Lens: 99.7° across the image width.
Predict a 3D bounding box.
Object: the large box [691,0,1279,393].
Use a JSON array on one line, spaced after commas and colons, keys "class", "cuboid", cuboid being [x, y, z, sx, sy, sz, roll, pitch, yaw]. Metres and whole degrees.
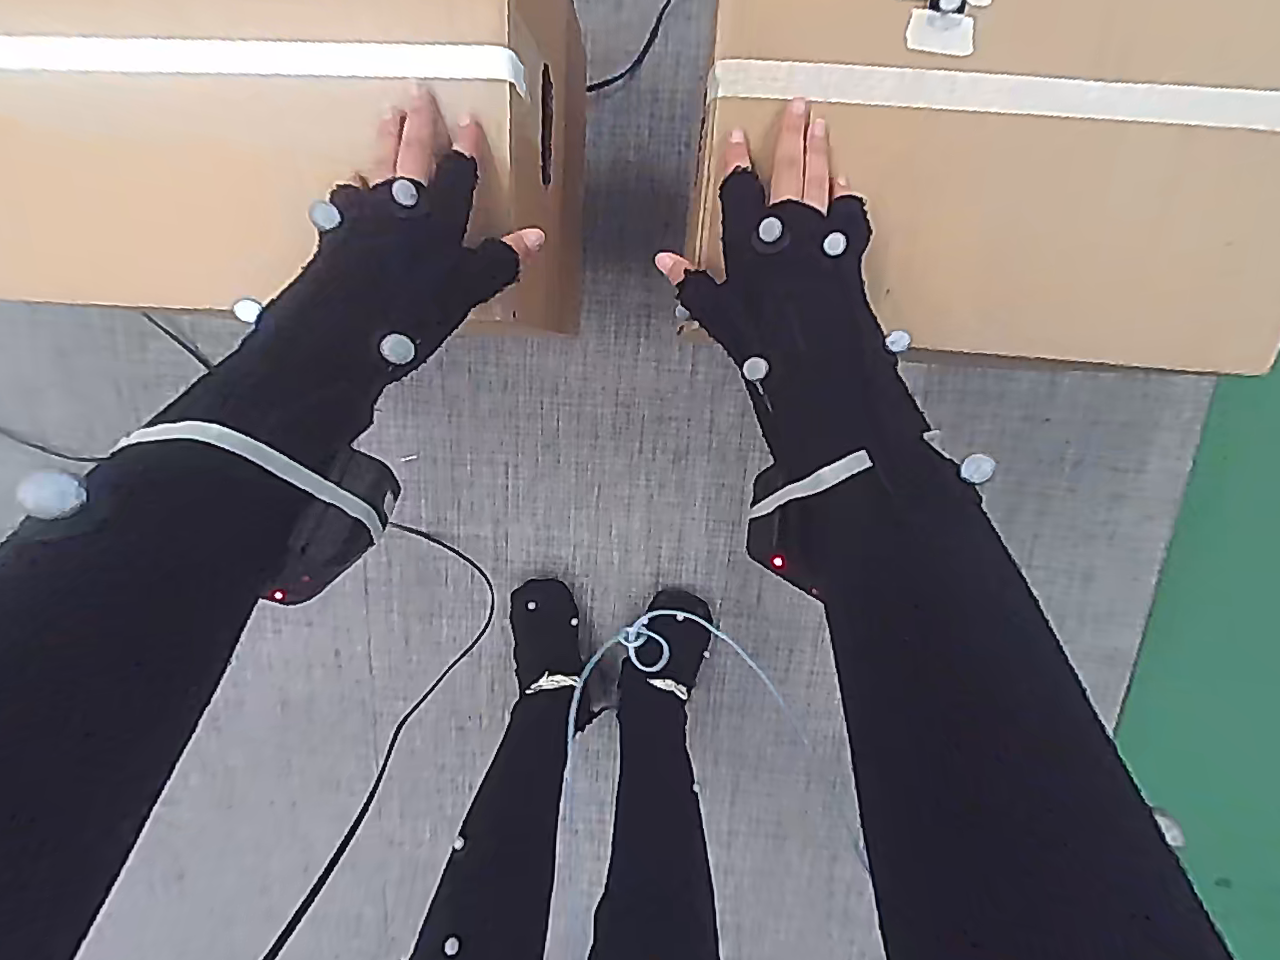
[{"class": "large box", "cuboid": [0.268, -0.265, 0.521, 0.408, 0.320, 0.320, 6, 103, 2]}]
